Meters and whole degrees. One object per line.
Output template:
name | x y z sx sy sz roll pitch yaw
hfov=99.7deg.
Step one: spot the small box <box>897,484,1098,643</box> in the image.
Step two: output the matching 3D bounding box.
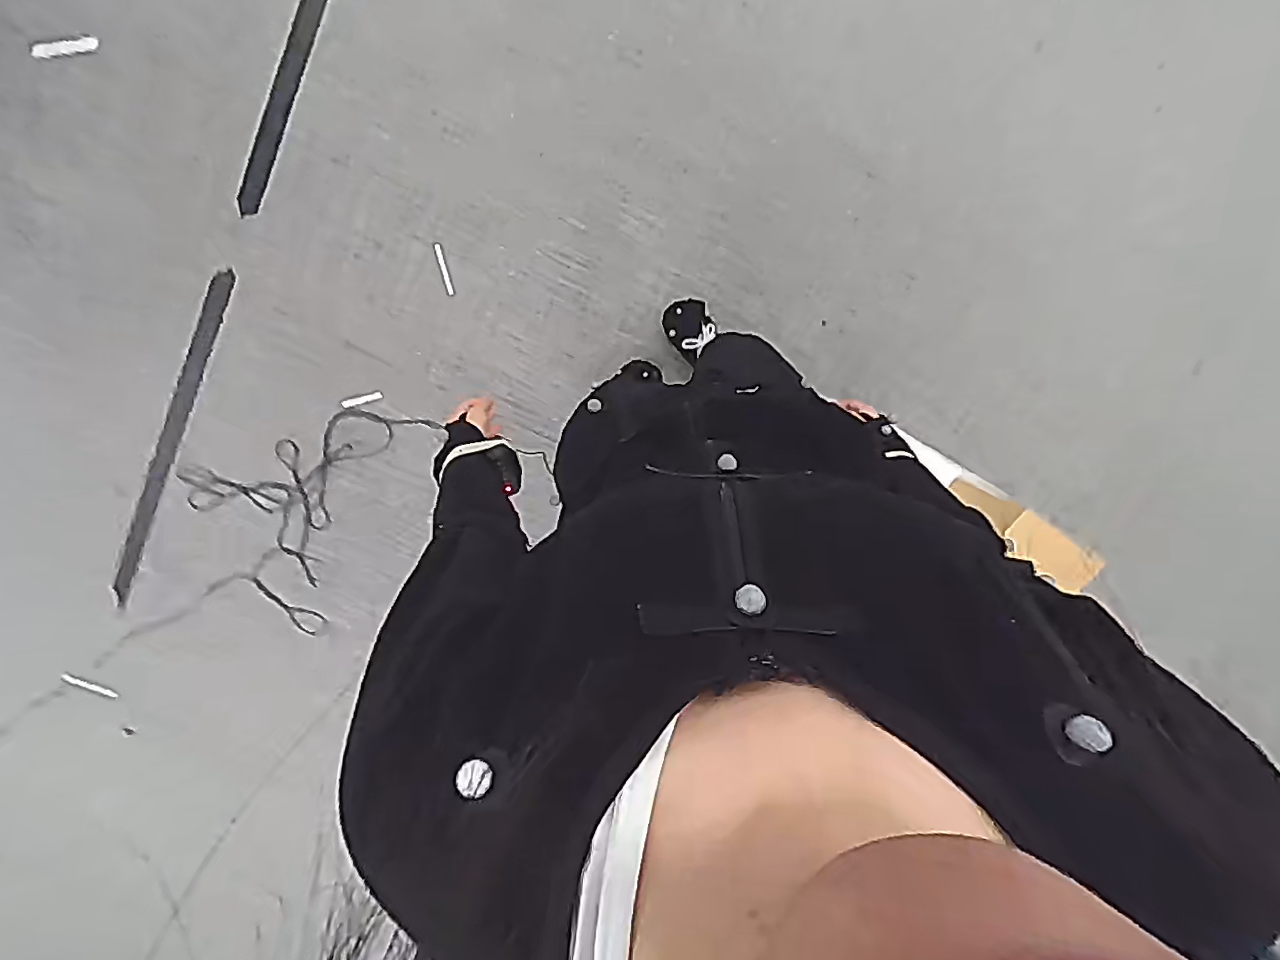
small box | 0.568 0.124 0.886 0.179 0.176 0.168 31 103 -13
